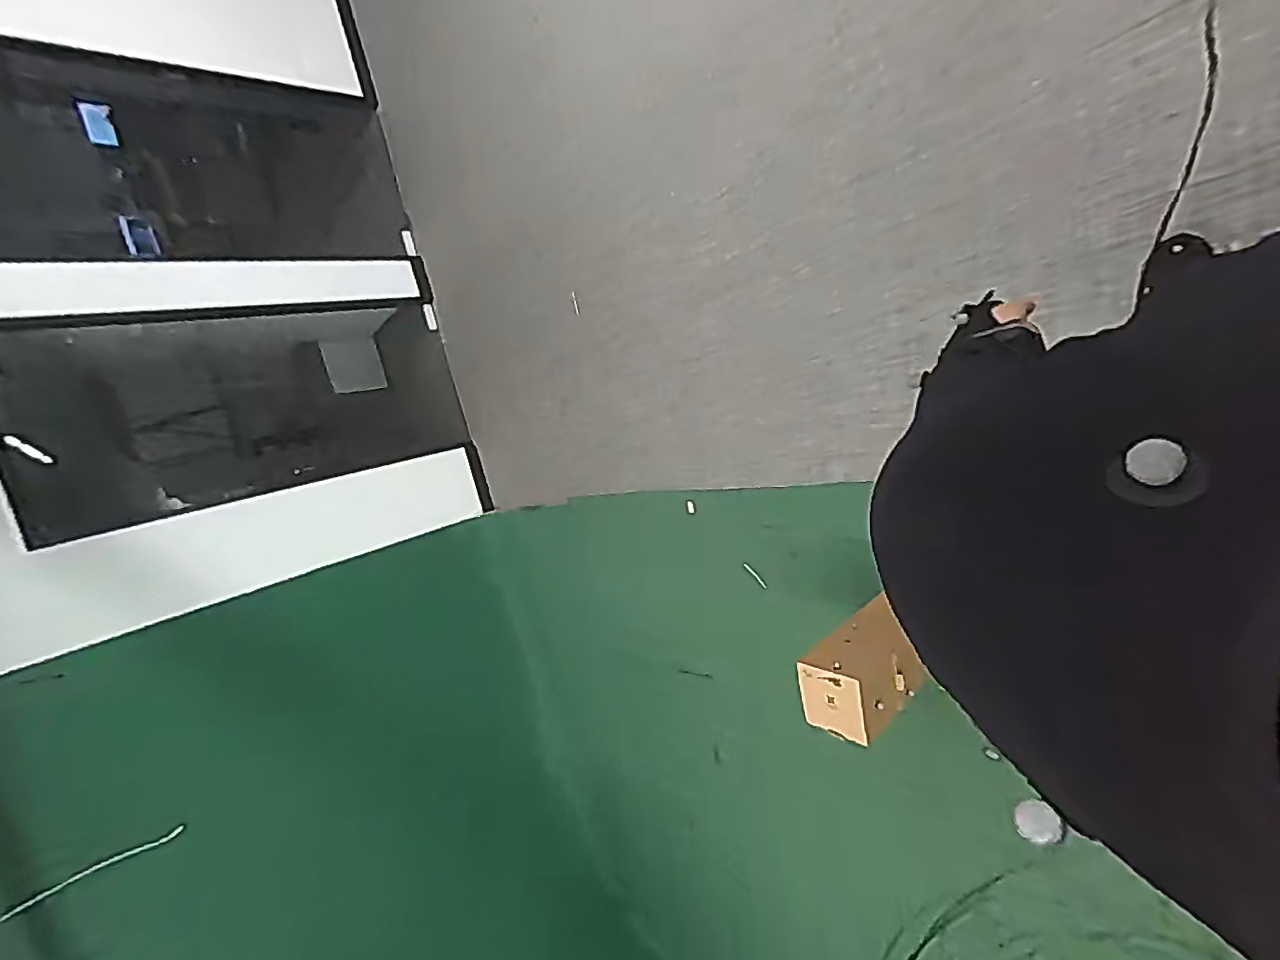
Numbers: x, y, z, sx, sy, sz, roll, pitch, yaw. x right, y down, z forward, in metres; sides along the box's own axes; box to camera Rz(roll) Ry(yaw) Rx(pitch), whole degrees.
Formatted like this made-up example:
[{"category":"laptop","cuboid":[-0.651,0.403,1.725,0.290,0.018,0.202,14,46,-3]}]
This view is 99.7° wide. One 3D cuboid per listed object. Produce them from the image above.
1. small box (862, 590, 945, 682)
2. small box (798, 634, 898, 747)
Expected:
[{"category":"small box","cuboid":[0.757,0.437,1.552,0.168,0.176,0.179,6,110,48]},{"category":"small box","cuboid":[0.518,0.511,1.337,0.168,0.176,0.179,1,106,50]}]
